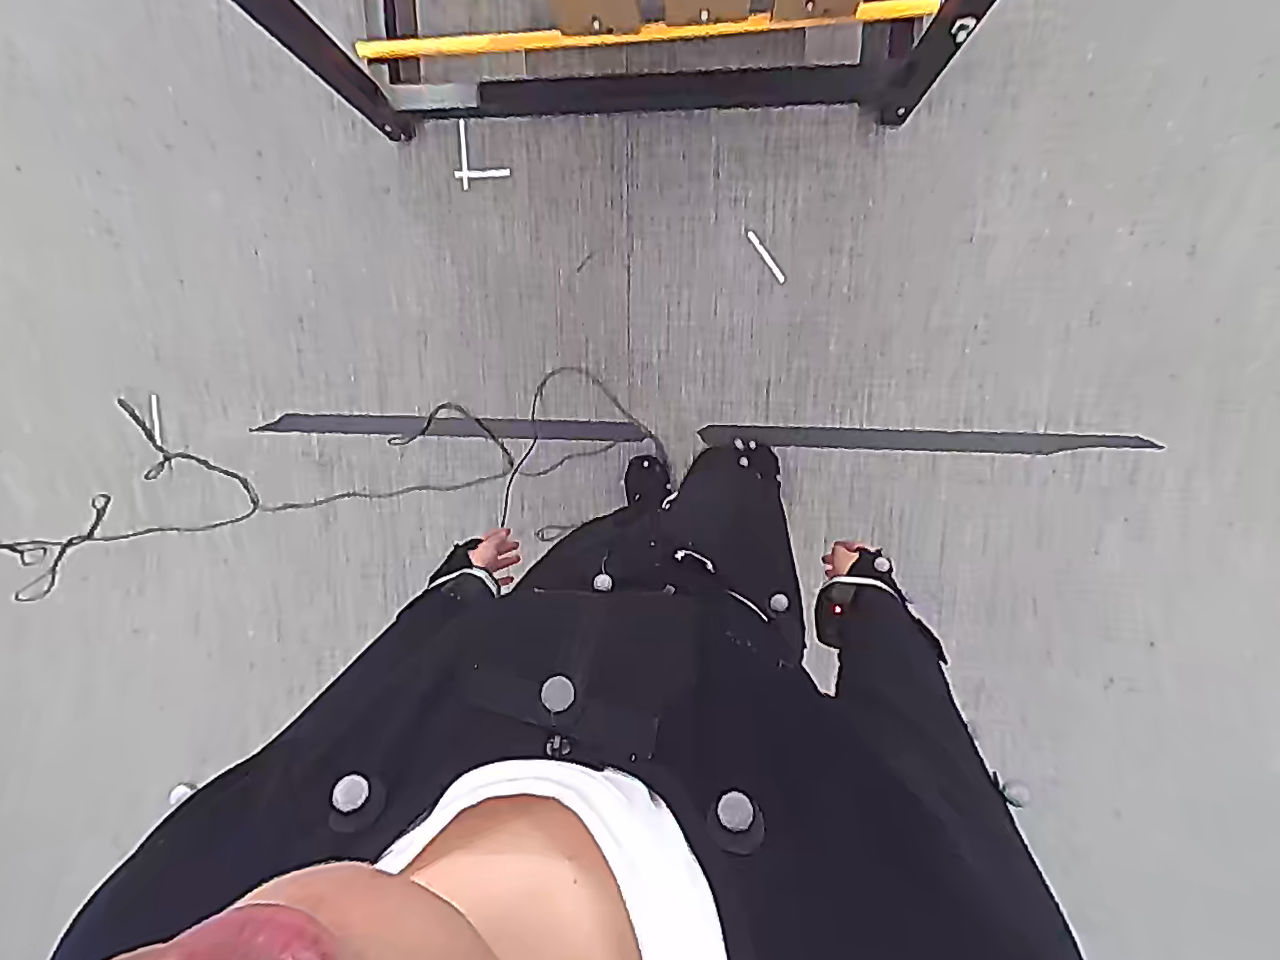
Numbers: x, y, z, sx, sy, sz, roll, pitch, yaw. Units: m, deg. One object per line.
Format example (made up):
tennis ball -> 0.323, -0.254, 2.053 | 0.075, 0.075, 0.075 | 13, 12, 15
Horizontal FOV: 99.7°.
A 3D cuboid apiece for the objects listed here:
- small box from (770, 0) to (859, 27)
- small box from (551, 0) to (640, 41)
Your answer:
small box -> 0.332, -0.983, 0.988 | 0.168, 0.176, 0.179 | 1, 99, 6
small box -> -0.088, -0.984, 1.025 | 0.168, 0.176, 0.179 | 2, 100, 4
